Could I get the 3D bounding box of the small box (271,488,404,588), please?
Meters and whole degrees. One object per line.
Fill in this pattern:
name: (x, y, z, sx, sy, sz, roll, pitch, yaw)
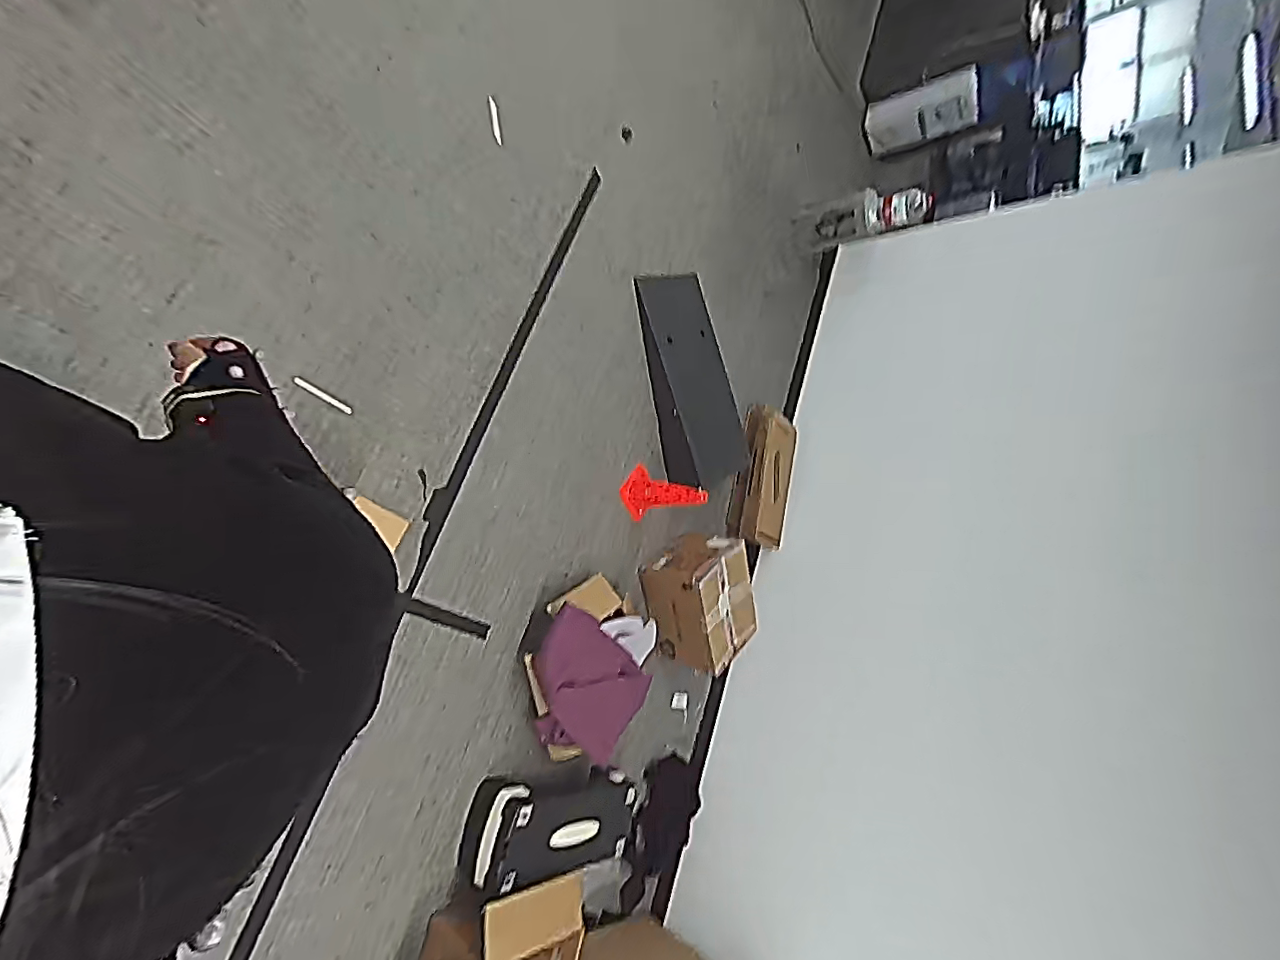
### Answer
small box: (-0.686, 0.125, 1.228, 0.179, 0.176, 0.168, 43, 60, -43)
